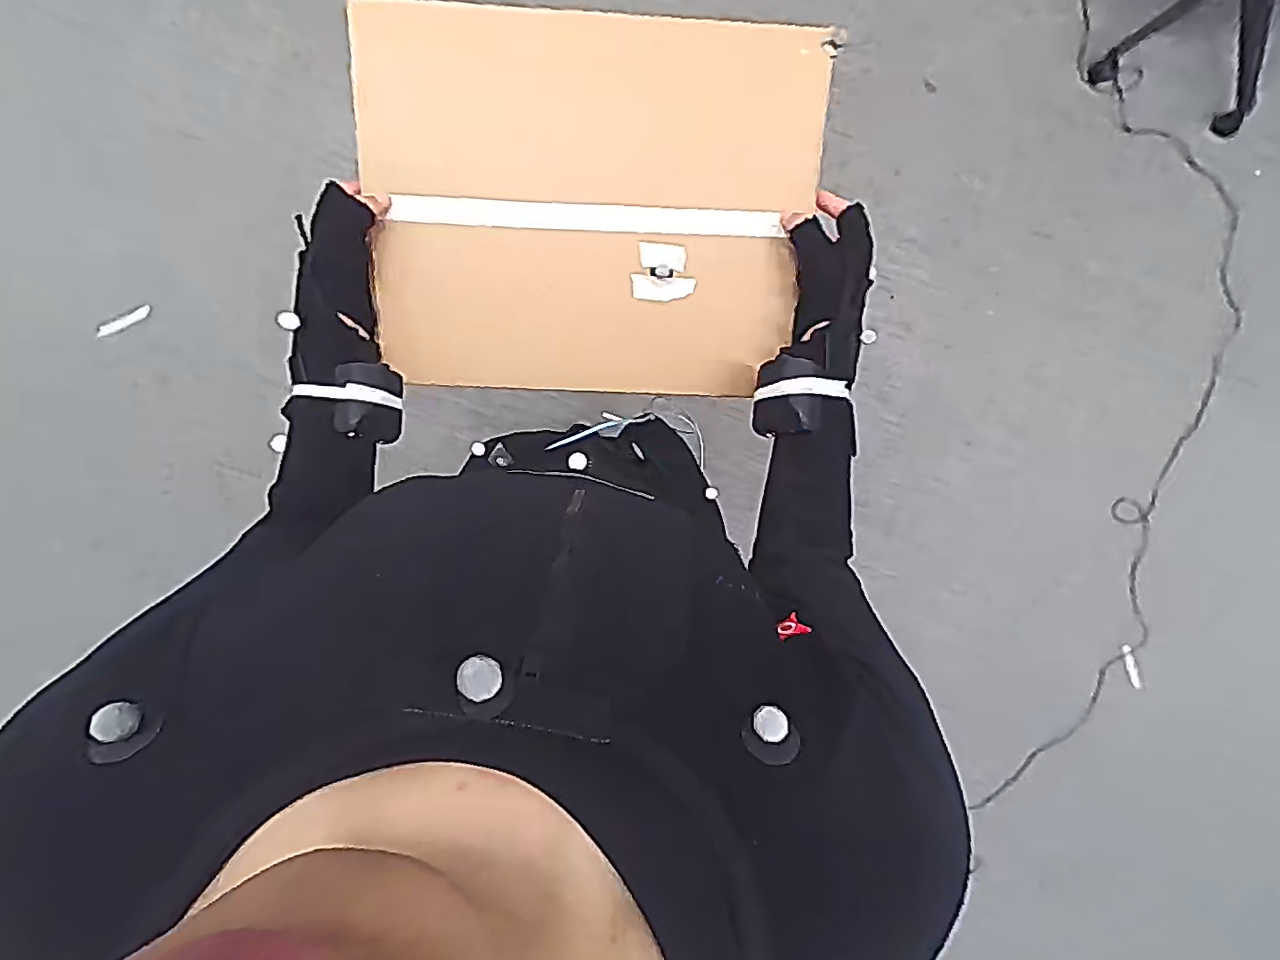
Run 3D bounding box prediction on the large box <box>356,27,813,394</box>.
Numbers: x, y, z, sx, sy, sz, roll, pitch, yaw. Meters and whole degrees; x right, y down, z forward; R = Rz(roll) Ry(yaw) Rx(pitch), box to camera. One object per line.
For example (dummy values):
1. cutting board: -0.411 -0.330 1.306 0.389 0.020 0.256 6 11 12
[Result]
1. large box: -0.054 -0.275 0.649 0.408 0.320 0.320 0 106 -3
